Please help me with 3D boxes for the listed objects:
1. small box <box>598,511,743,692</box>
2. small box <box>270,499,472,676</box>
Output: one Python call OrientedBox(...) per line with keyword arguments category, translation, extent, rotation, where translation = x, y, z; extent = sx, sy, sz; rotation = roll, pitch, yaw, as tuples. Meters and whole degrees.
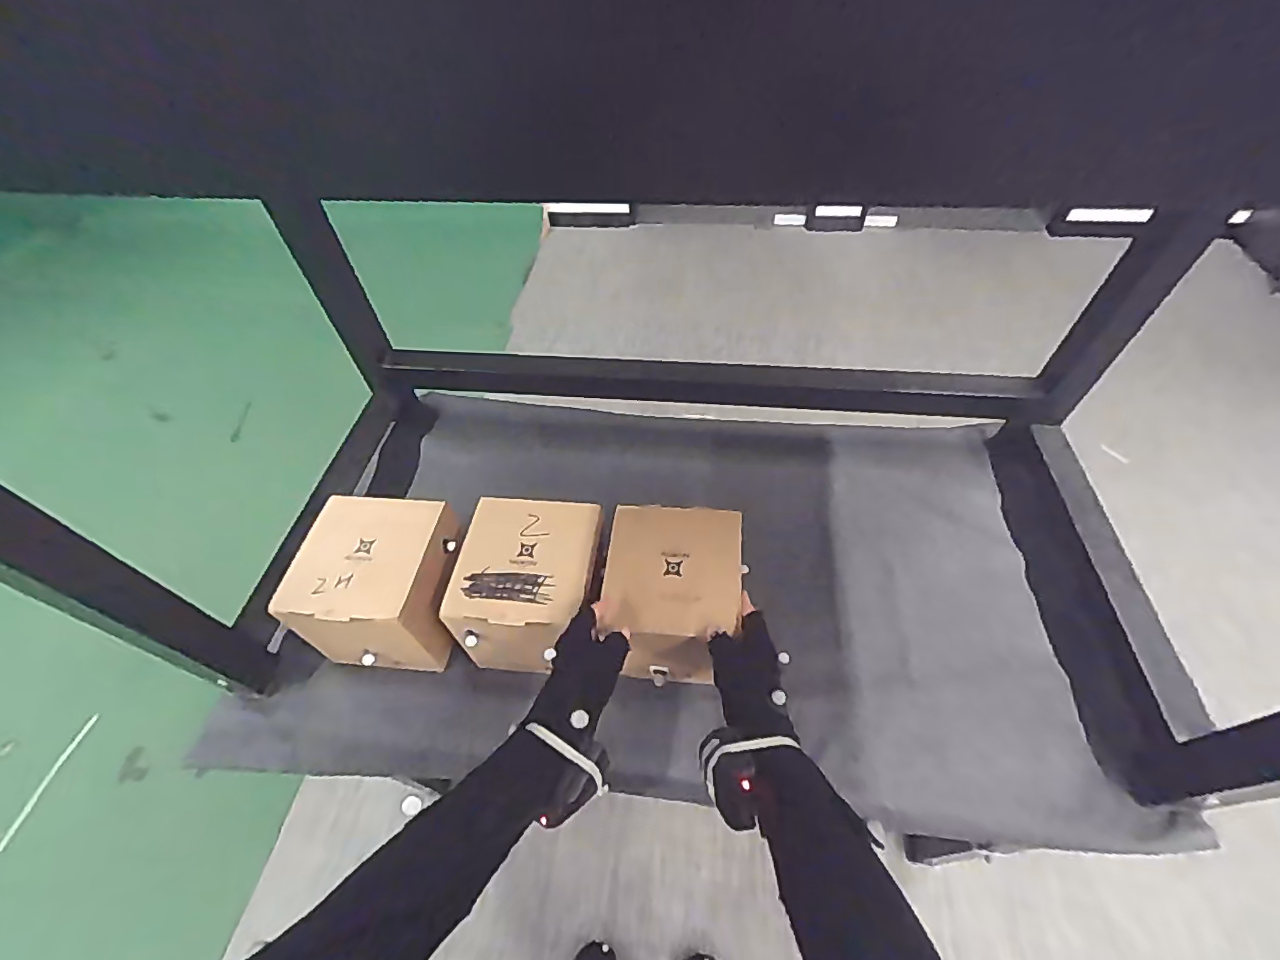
OrientedBox(category="small box", translation=(0.045, 0.161, 0.717), extent=(0.168, 0.176, 0.179), rotation=(1, 53, 6))
OrientedBox(category="small box", translation=(-0.347, 0.148, 0.743), extent=(0.168, 0.176, 0.179), rotation=(3, 51, 5))
